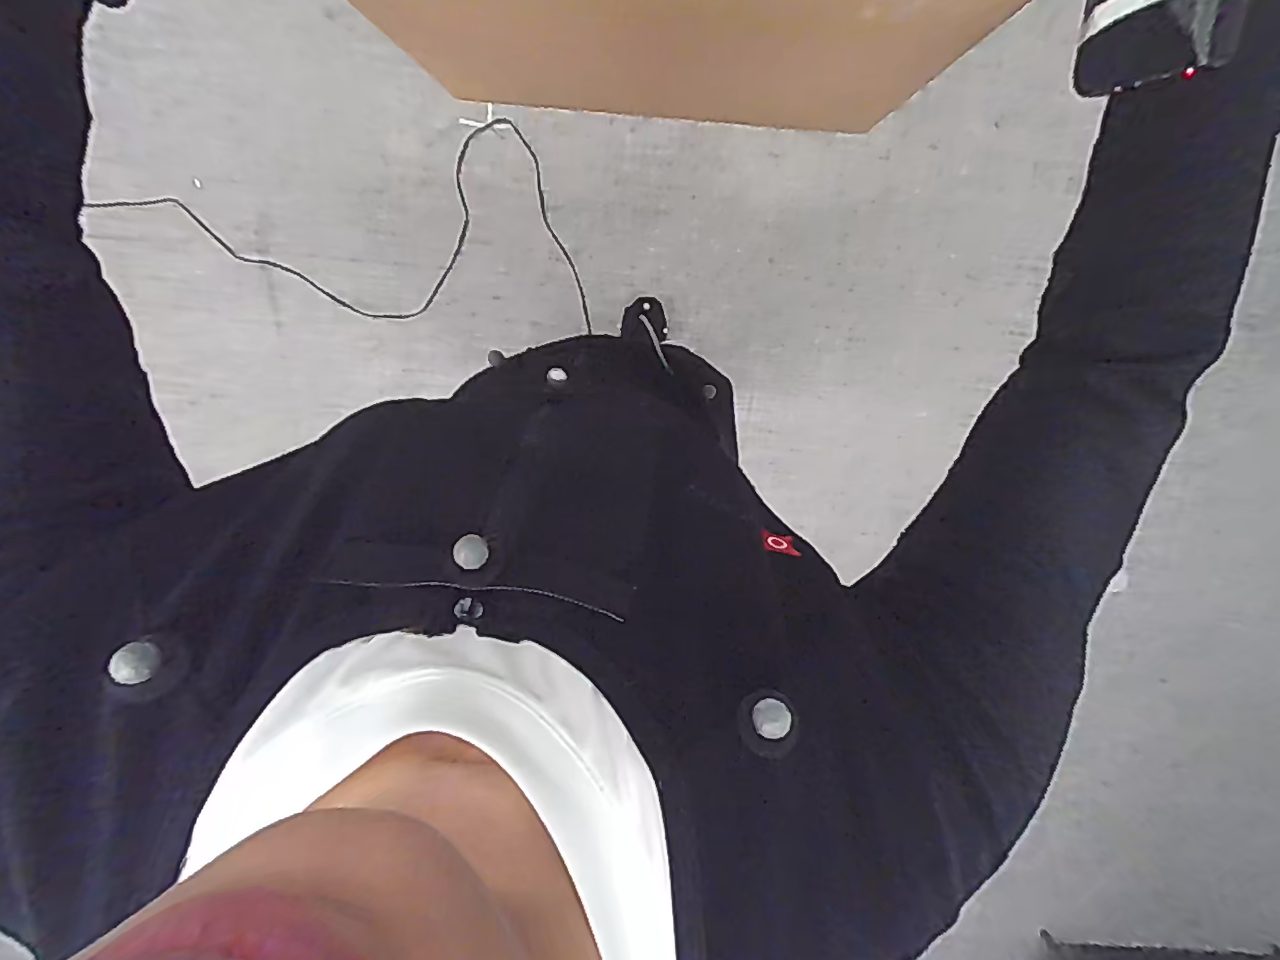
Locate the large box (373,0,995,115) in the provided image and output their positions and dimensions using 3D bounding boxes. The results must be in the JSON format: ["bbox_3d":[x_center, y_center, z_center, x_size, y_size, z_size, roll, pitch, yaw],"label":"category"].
[{"bbox_3d":[0.026,-0.456,0.335,0.408,0.320,0.320,5,110,1],"label":"large box"}]
